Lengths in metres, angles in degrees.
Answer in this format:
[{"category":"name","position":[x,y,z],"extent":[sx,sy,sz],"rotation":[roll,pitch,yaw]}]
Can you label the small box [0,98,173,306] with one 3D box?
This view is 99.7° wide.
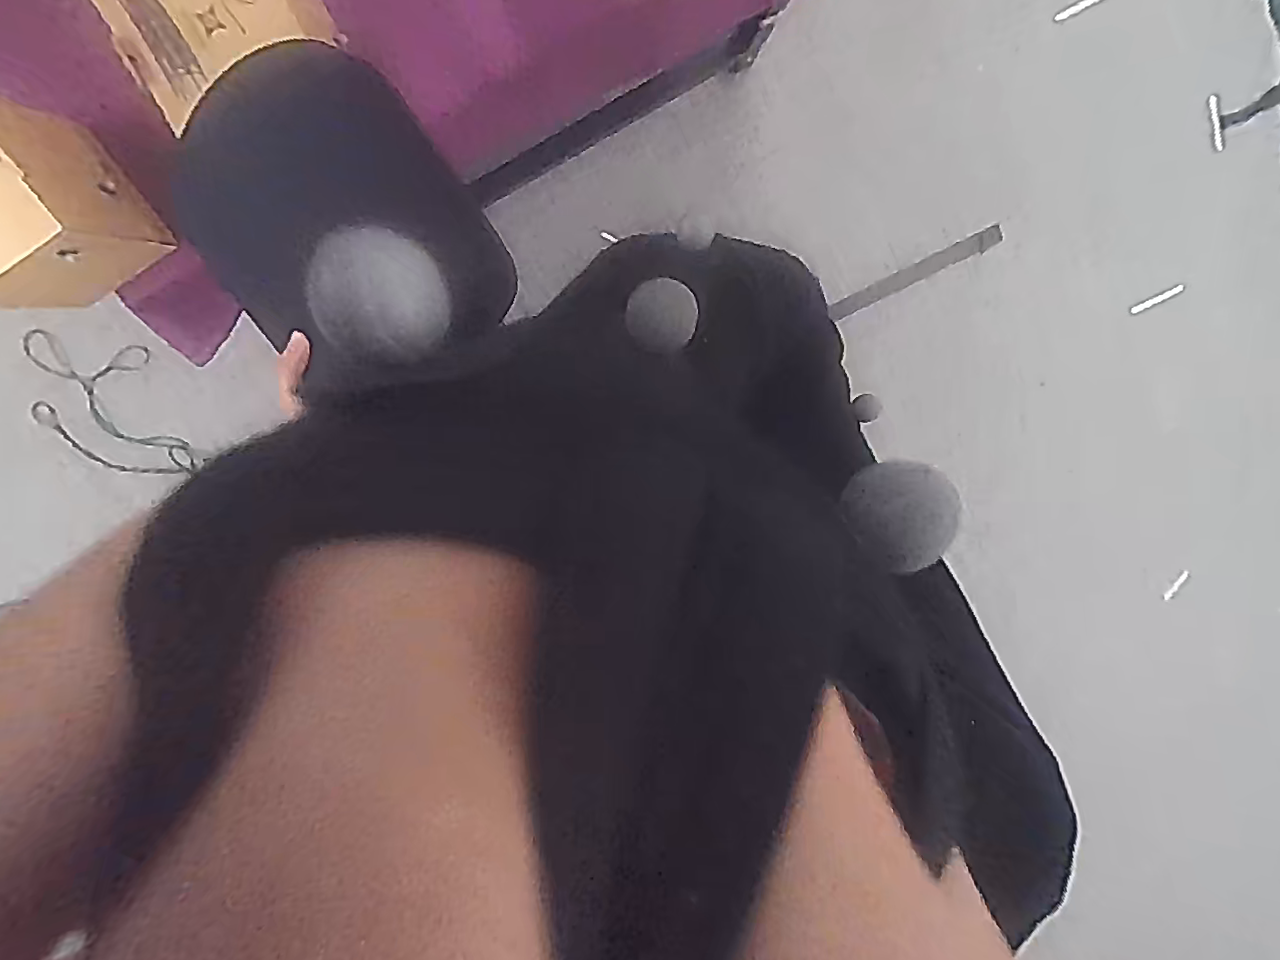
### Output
[{"category":"small box","position":[-0.744,-0.324,0.658],"extent":[0.179,0.176,0.168],"rotation":[-30,107,6]}]
